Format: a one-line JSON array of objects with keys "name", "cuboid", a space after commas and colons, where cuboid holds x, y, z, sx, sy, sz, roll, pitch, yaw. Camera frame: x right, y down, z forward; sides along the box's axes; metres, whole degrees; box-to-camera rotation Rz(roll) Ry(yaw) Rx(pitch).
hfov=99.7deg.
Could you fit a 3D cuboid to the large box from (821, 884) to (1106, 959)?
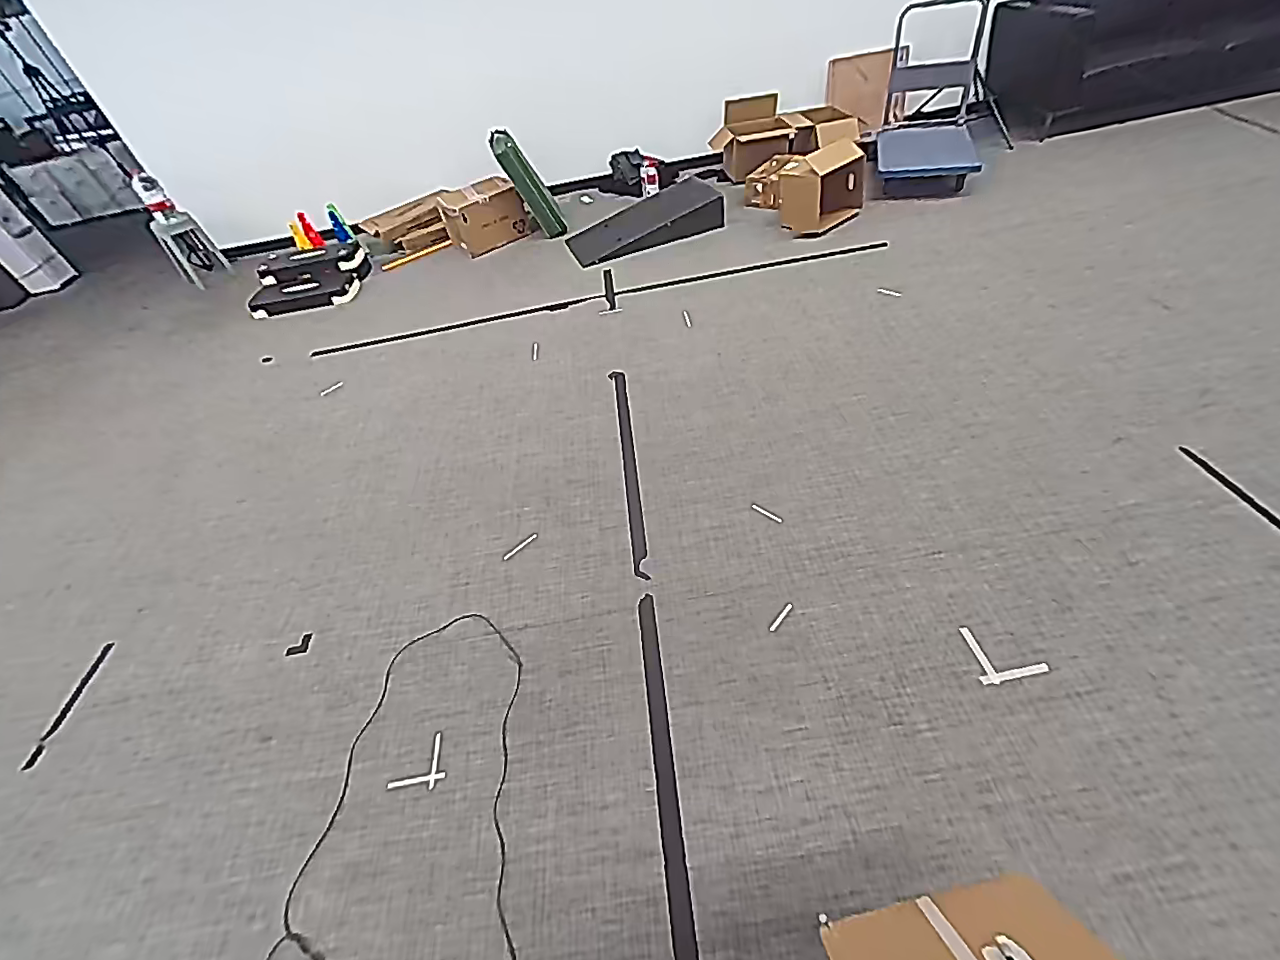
[{"name": "large box", "cuboid": [0.445, 0.746, 0.575, 0.320, 0.408, 0.320, -14, 82, 0]}]
